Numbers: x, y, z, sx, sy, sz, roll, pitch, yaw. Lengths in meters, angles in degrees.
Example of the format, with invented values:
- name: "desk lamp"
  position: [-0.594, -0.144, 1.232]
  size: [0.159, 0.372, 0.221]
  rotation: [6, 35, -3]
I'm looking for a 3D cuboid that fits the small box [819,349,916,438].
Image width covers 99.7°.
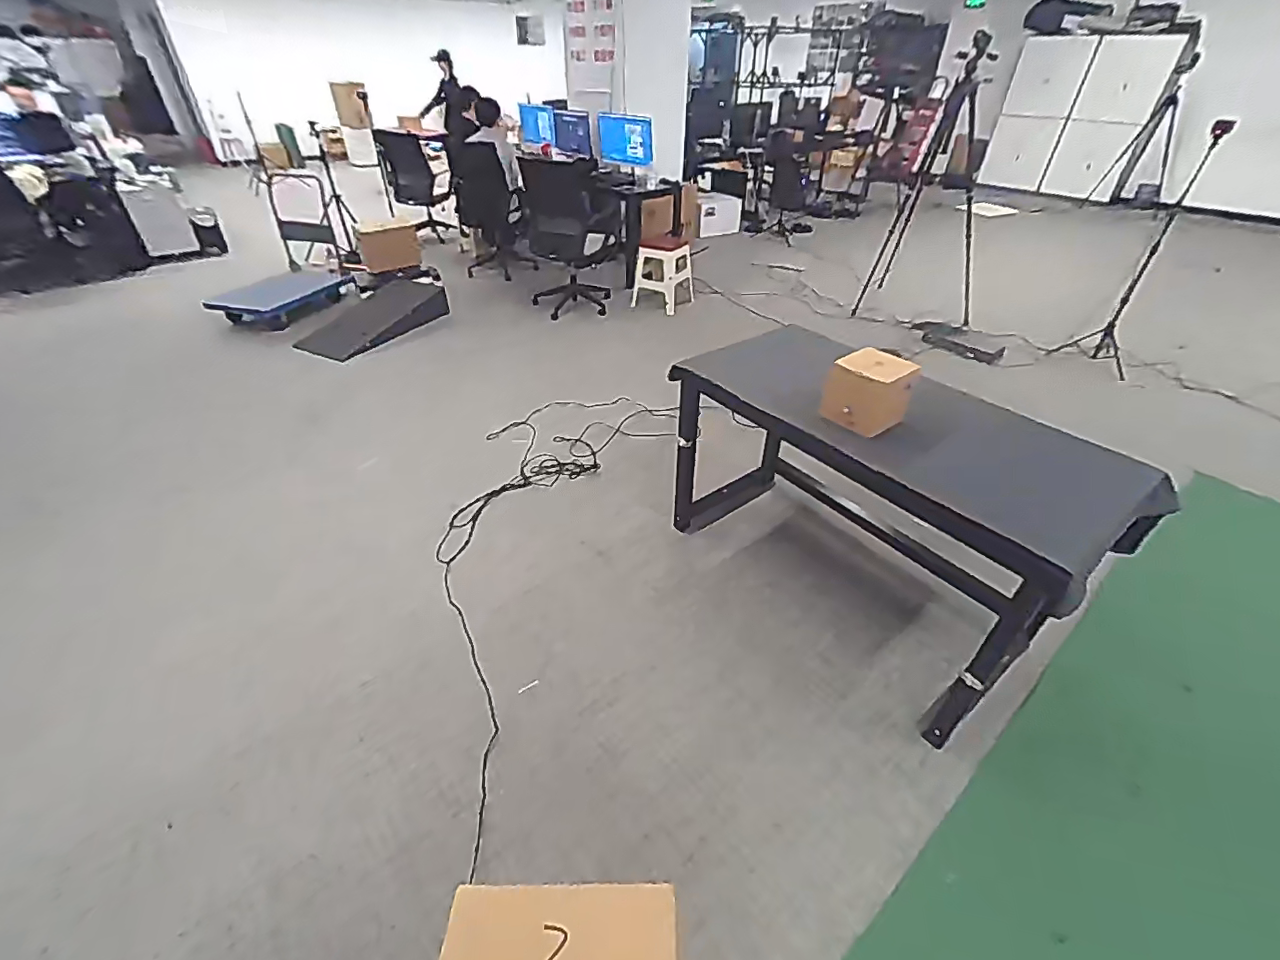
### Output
- name: "small box"
  position: [0.627, -0.244, 1.511]
  size: [0.179, 0.176, 0.168]
  rotation: [-25, 44, -31]
